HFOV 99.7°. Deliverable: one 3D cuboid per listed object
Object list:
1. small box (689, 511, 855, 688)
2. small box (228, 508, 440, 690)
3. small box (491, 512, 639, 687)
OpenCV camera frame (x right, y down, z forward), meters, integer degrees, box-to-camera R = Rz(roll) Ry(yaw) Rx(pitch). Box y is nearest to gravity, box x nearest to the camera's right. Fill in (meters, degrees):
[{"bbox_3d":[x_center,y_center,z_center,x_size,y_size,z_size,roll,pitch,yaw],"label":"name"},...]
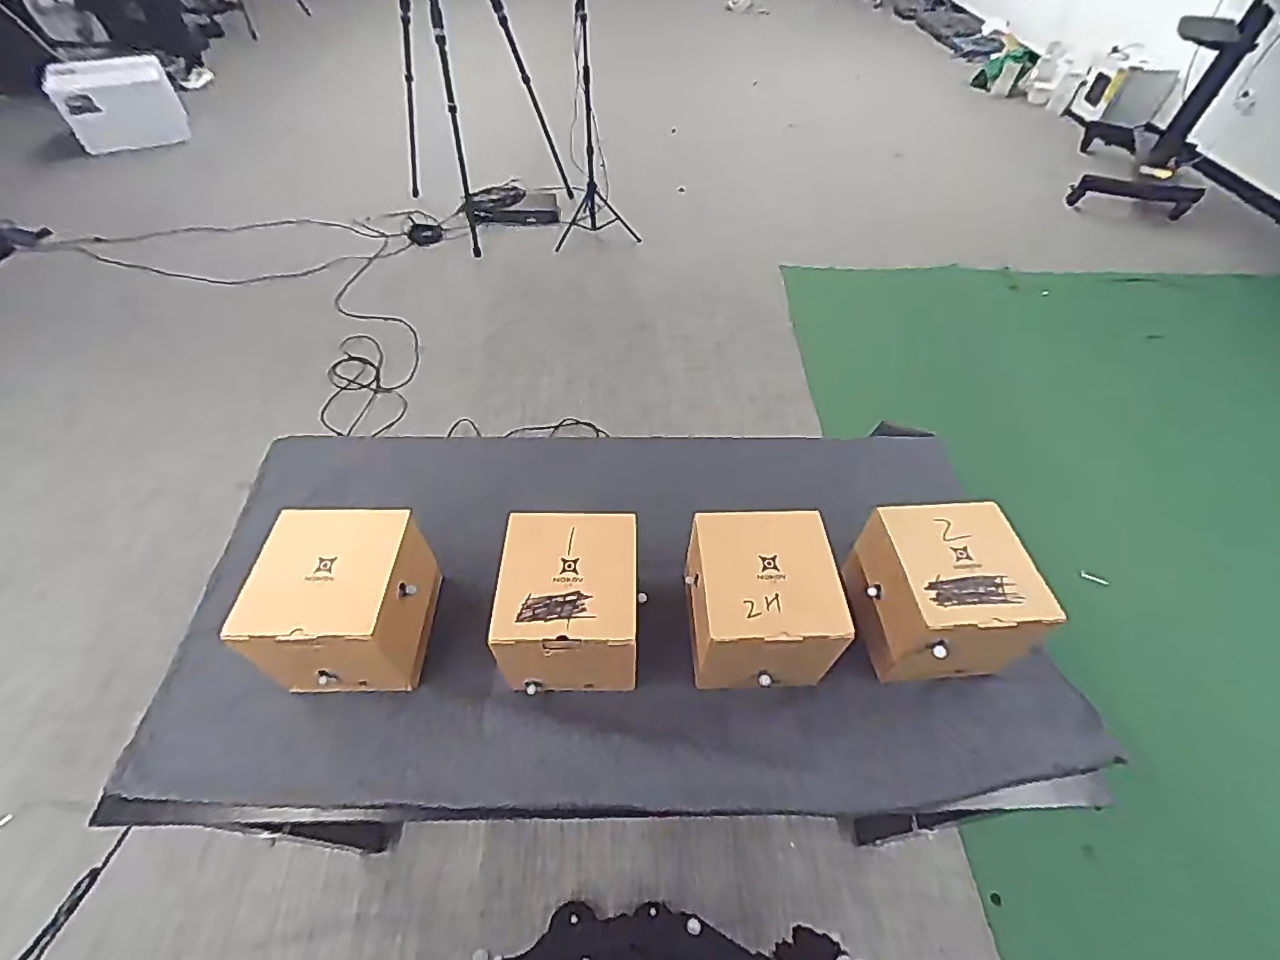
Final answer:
[{"bbox_3d":[0.157,0.160,0.718,0.168,0.176,0.179,-1,51,-1],"label":"small box"},{"bbox_3d":[-0.373,0.156,0.704,0.168,0.176,0.179,0,50,-3],"label":"small box"},{"bbox_3d":[-0.085,0.161,0.710,0.168,0.176,0.179,1,51,-1],"label":"small box"}]
